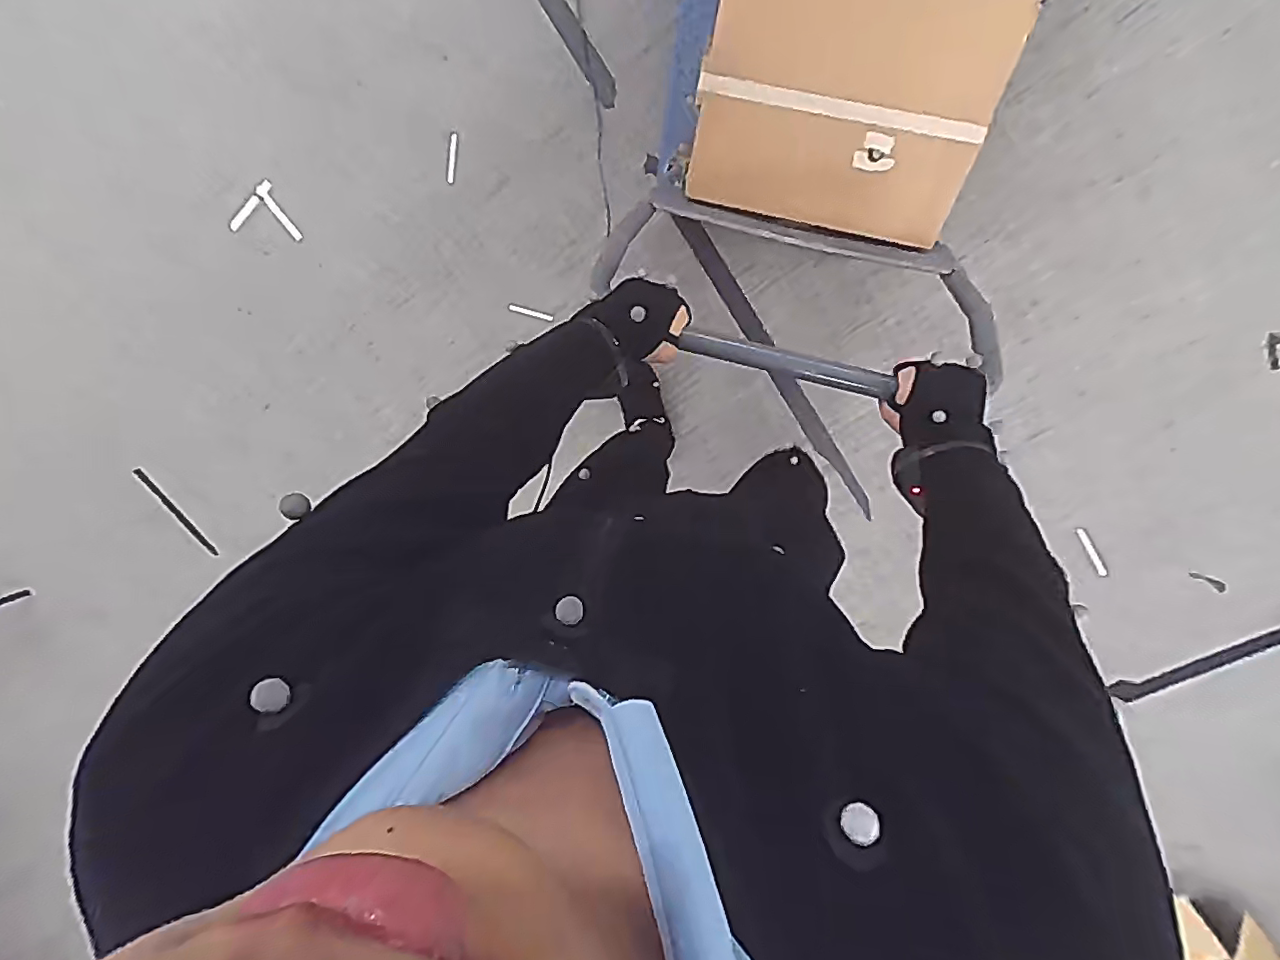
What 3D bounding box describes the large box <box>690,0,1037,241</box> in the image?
[{"bbox_3d":[0.322,-0.630,0.908,0.408,0.320,0.320,14,127,4],"label":"large box"}]
